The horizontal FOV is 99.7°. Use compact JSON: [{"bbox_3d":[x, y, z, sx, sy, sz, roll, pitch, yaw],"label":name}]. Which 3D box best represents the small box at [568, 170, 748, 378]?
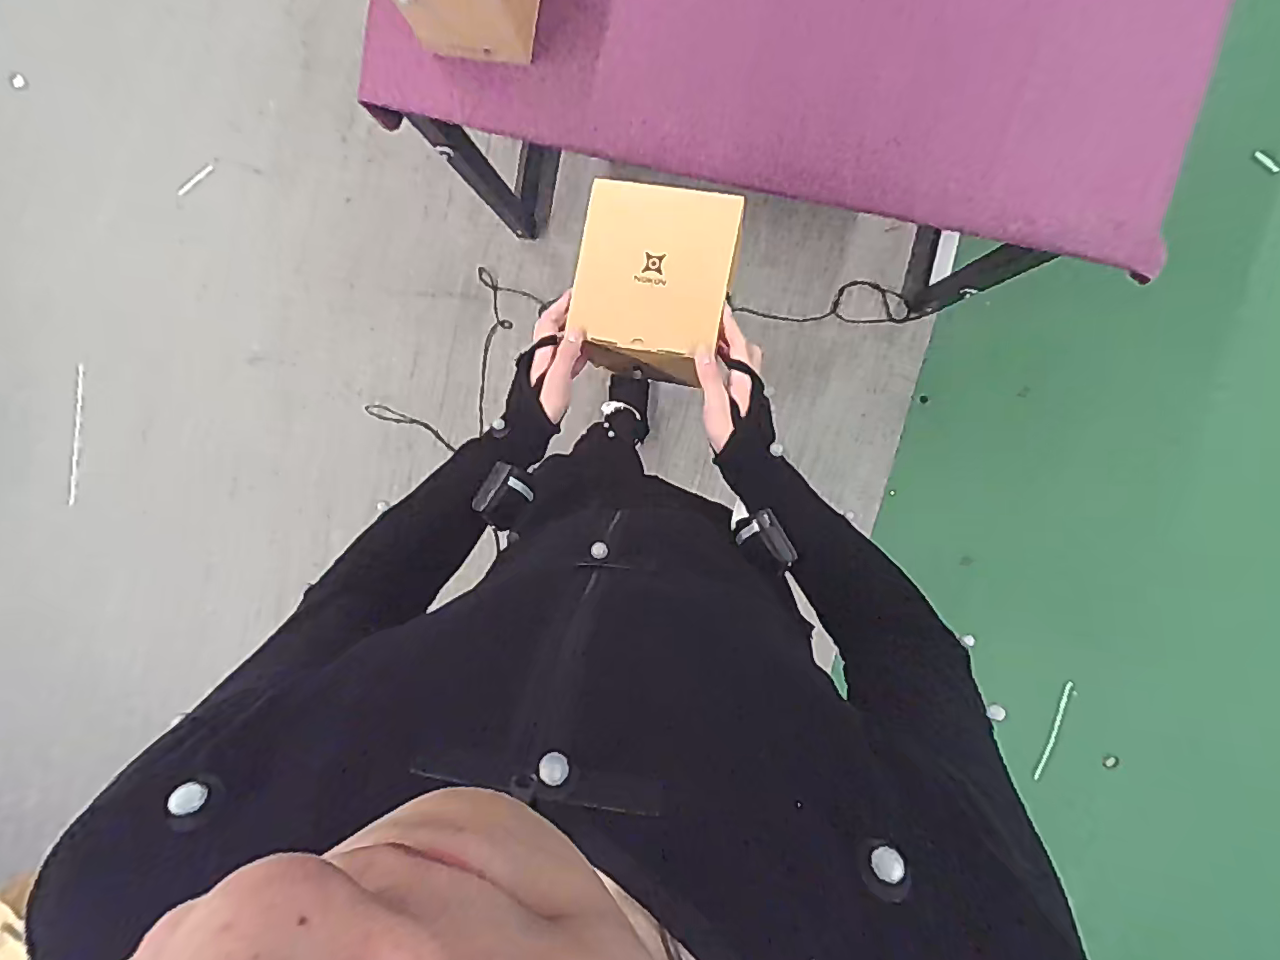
[{"bbox_3d":[0.026,-0.233,0.652,0.168,0.176,0.179,11,93,6],"label":"small box"}]
